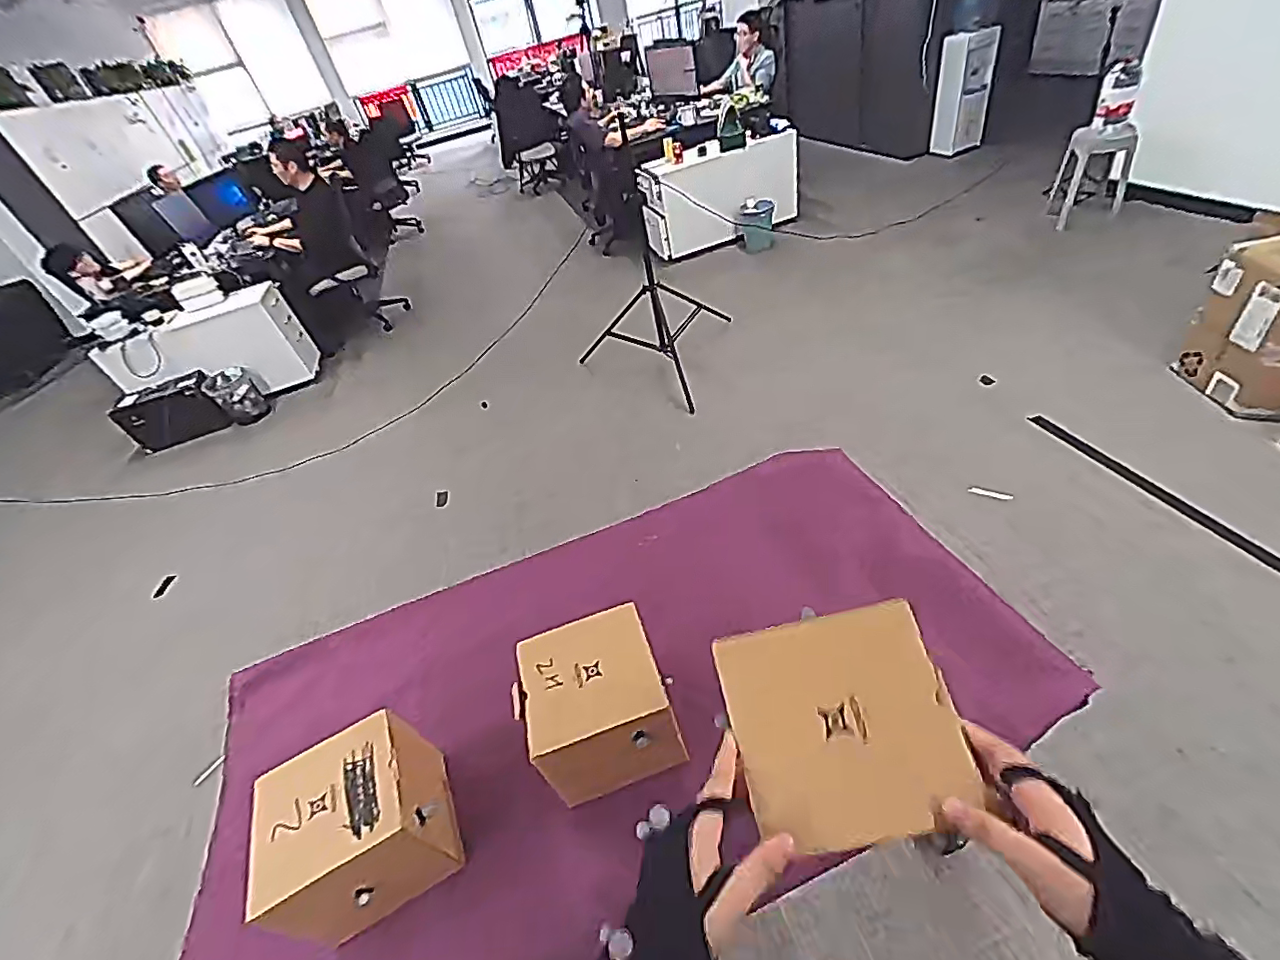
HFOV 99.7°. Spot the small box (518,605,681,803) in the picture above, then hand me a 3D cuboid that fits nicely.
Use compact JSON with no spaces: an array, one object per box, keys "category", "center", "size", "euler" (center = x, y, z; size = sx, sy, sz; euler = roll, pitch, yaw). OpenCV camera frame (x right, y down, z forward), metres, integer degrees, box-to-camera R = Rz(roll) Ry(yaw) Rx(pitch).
[{"category":"small box","center":[-0.051,0.310,0.748],"size":[0.179,0.176,0.168],"euler":[-20,40,-4]}]

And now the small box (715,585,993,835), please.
[{"category":"small box","center":[0.177,0.217,0.509],"size":[0.179,0.176,0.168],"euler":[-13,61,3]}]
